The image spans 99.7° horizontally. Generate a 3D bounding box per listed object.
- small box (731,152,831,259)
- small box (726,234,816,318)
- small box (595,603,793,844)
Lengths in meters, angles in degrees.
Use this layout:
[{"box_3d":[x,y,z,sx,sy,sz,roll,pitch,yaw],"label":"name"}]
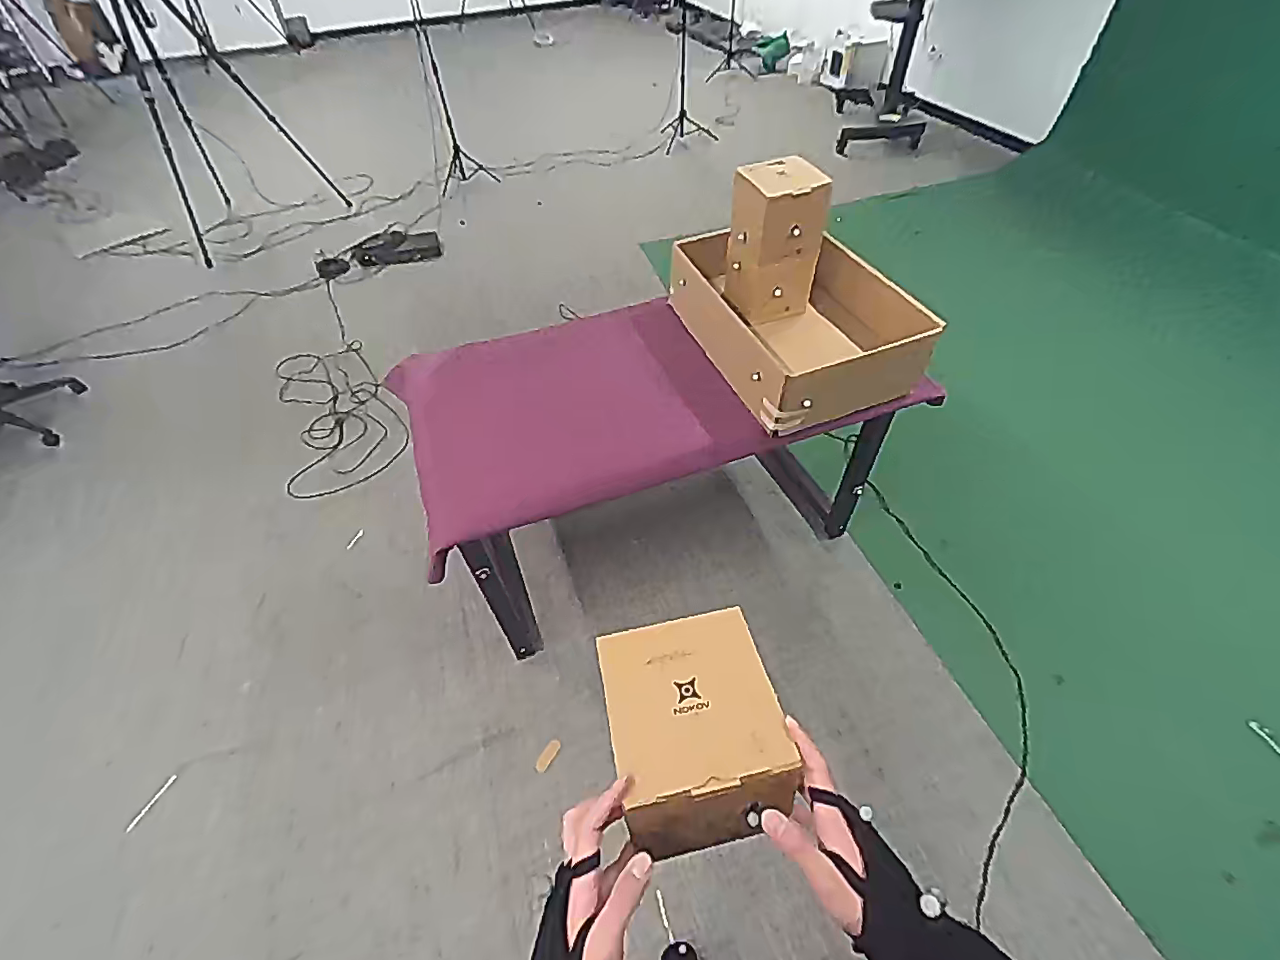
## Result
[{"box_3d":[0.329,-0.650,1.298,0.168,0.176,0.179,-16,53,-9],"label":"small box"},{"box_3d":[0.338,-0.547,1.424,0.168,0.176,0.179,-17,52,-9],"label":"small box"},{"box_3d":[0.052,0.267,0.588,0.168,0.176,0.179,-10,41,-5],"label":"small box"}]
